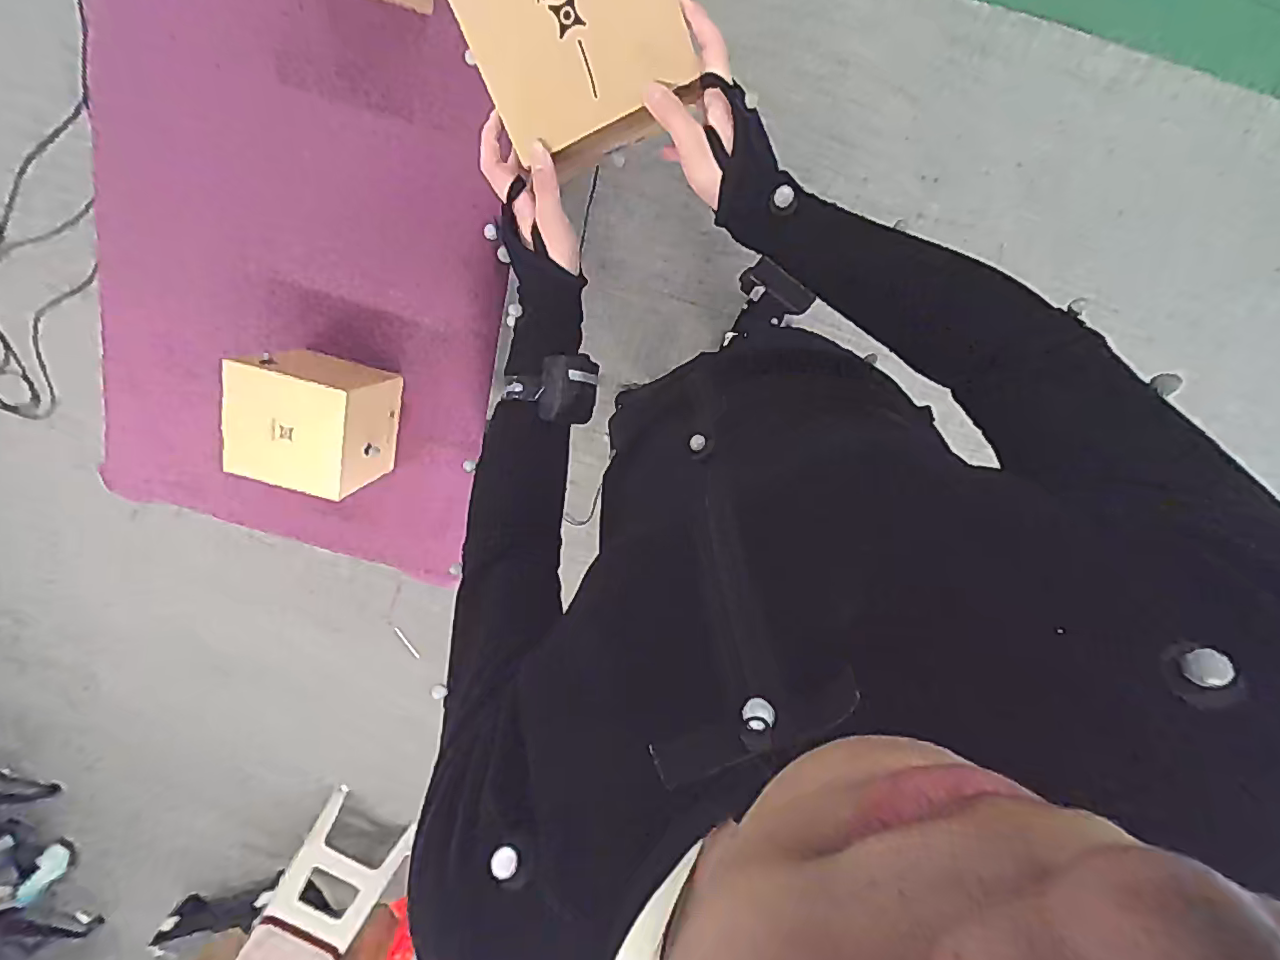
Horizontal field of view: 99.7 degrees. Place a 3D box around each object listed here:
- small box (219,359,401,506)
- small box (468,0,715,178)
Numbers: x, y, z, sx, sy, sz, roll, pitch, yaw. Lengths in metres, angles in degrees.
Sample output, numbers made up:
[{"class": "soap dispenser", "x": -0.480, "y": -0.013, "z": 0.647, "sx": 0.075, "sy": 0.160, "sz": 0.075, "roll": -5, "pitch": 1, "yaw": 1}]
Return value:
[{"class": "small box", "x": -0.486, "y": -0.081, "z": 0.817, "sx": 0.179, "sy": 0.176, "sz": 0.168, "roll": 14, "pitch": 108, "yaw": 0}, {"class": "small box", "x": -0.045, "y": -0.401, "z": 0.486, "sx": 0.168, "sy": 0.176, "sz": 0.179, "roll": -20, "pitch": 112, "yaw": 10}]
